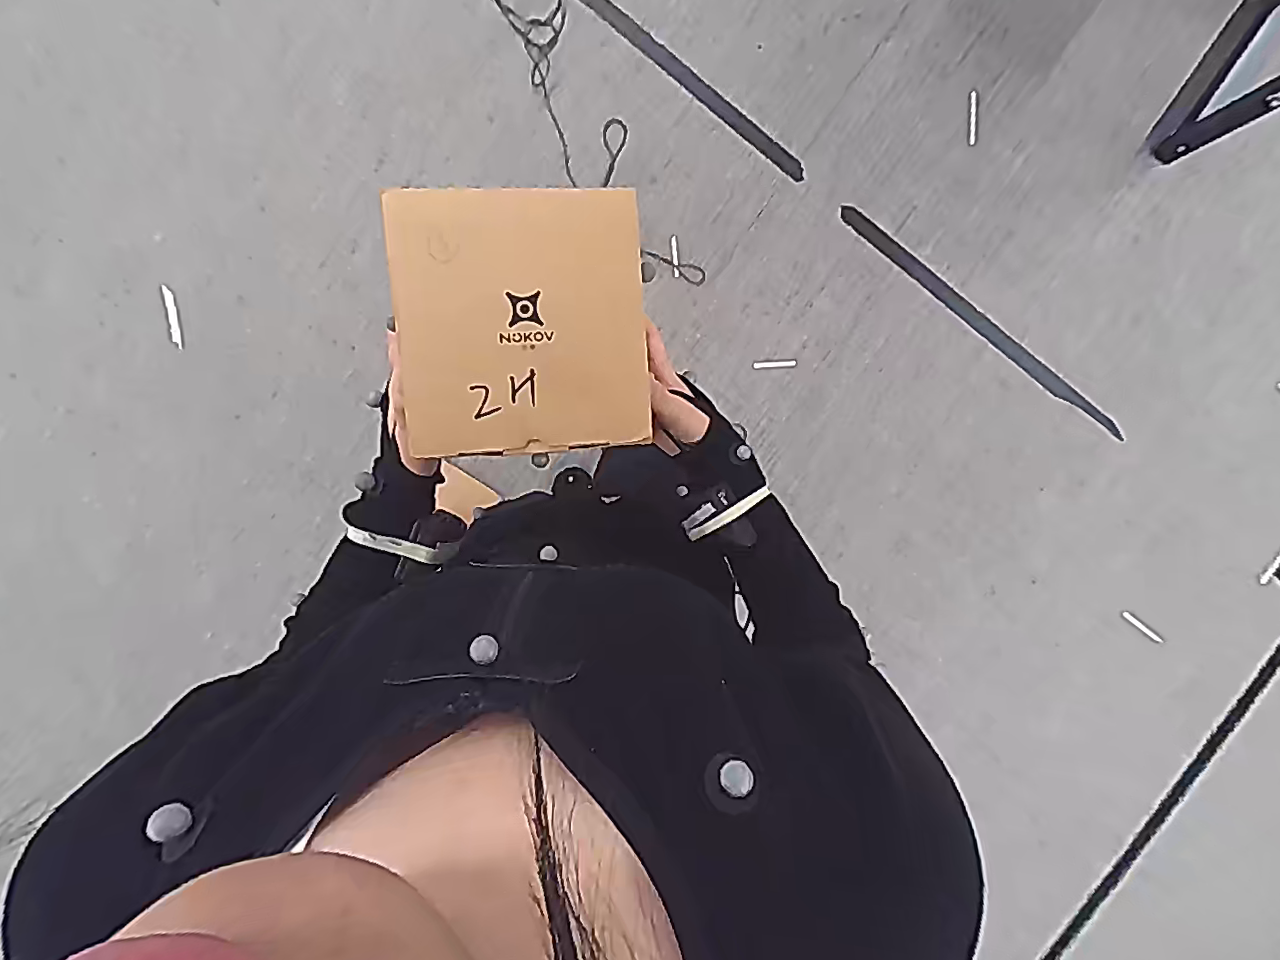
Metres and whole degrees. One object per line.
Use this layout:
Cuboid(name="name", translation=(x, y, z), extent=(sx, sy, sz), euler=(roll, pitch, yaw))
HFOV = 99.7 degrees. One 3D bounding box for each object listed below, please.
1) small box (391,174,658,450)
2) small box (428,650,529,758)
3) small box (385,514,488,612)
Cuboid(name="small box", translation=(-0.085, -0.116, 0.435), extent=(0.168, 0.176, 0.179), euler=(-5, 95, -8))
Cuboid(name="small box", translation=(-0.407, 0.570, 1.401), extent=(0.179, 0.176, 0.168), euler=(30, 91, -5))
Cuboid(name="small box", translation=(-0.506, 0.202, 1.377), extent=(0.168, 0.176, 0.179), euler=(30, 92, -5))
